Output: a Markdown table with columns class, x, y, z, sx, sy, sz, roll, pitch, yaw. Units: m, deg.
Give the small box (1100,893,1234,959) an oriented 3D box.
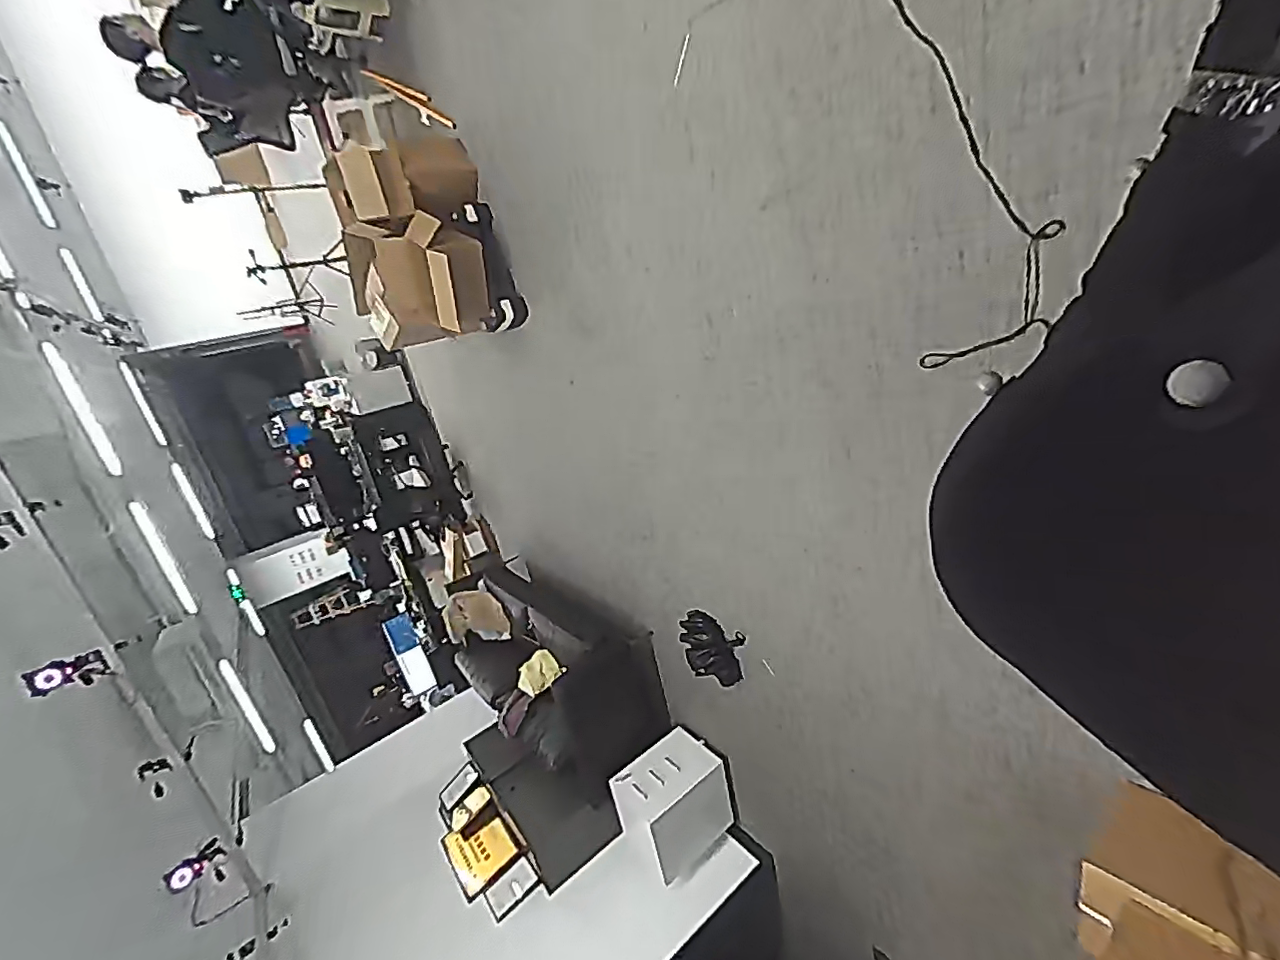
| class | x | y | z | sx | sy | sz | roll | pitch | yaw |
| --- | --- | --- | --- | --- | --- | --- | --- | --- | --- |
| small box | 1.111 | 1.042 | 1.146 | 0.179 | 0.176 | 0.168 | 14 | 121 | 54 |
